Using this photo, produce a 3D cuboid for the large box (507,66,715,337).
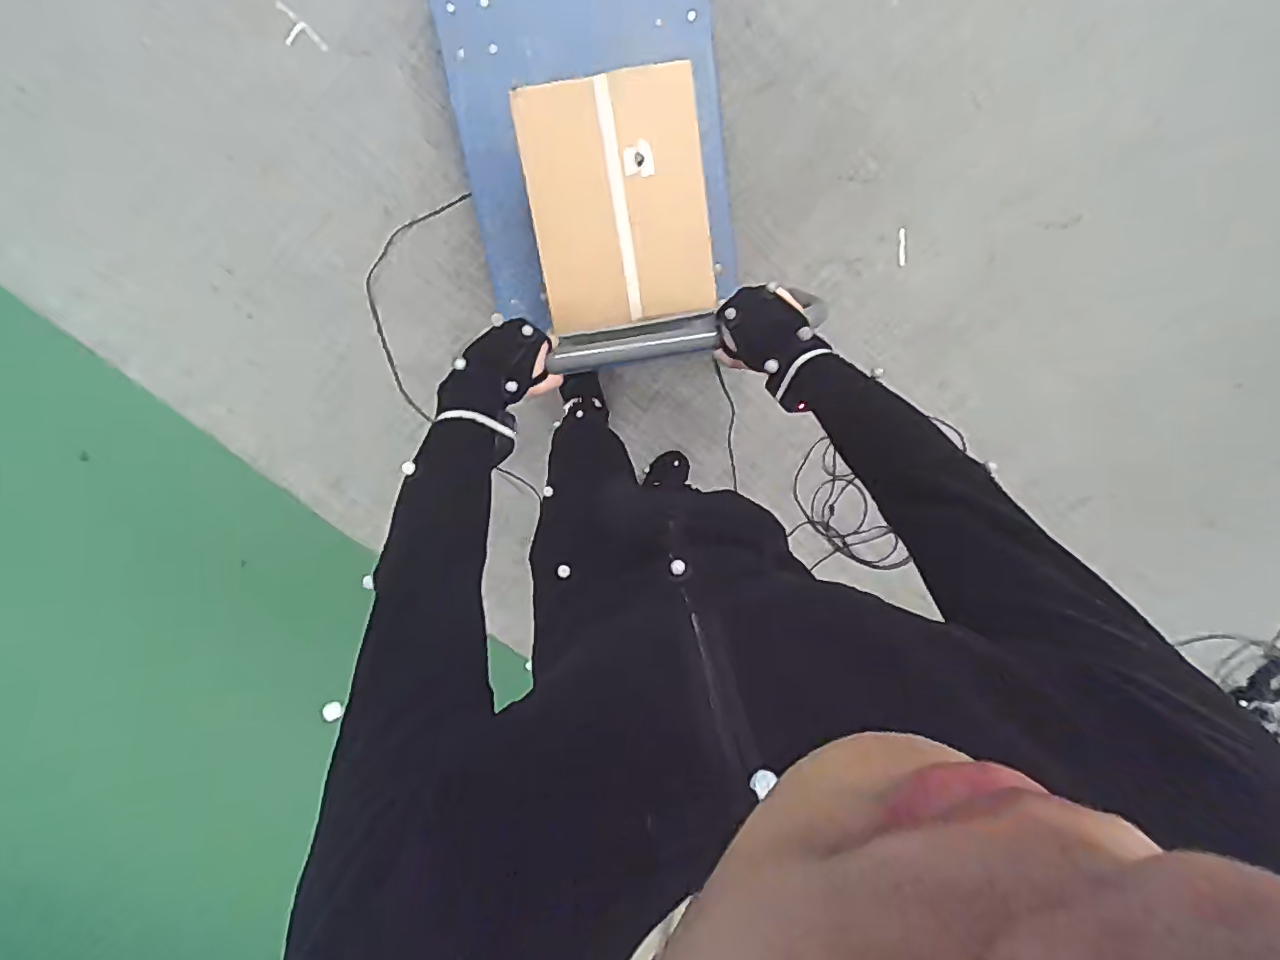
[{"bbox_3d":[-0.047,-0.524,1.108,0.320,0.320,0.408,-10,106,-1],"label":"large box"}]
